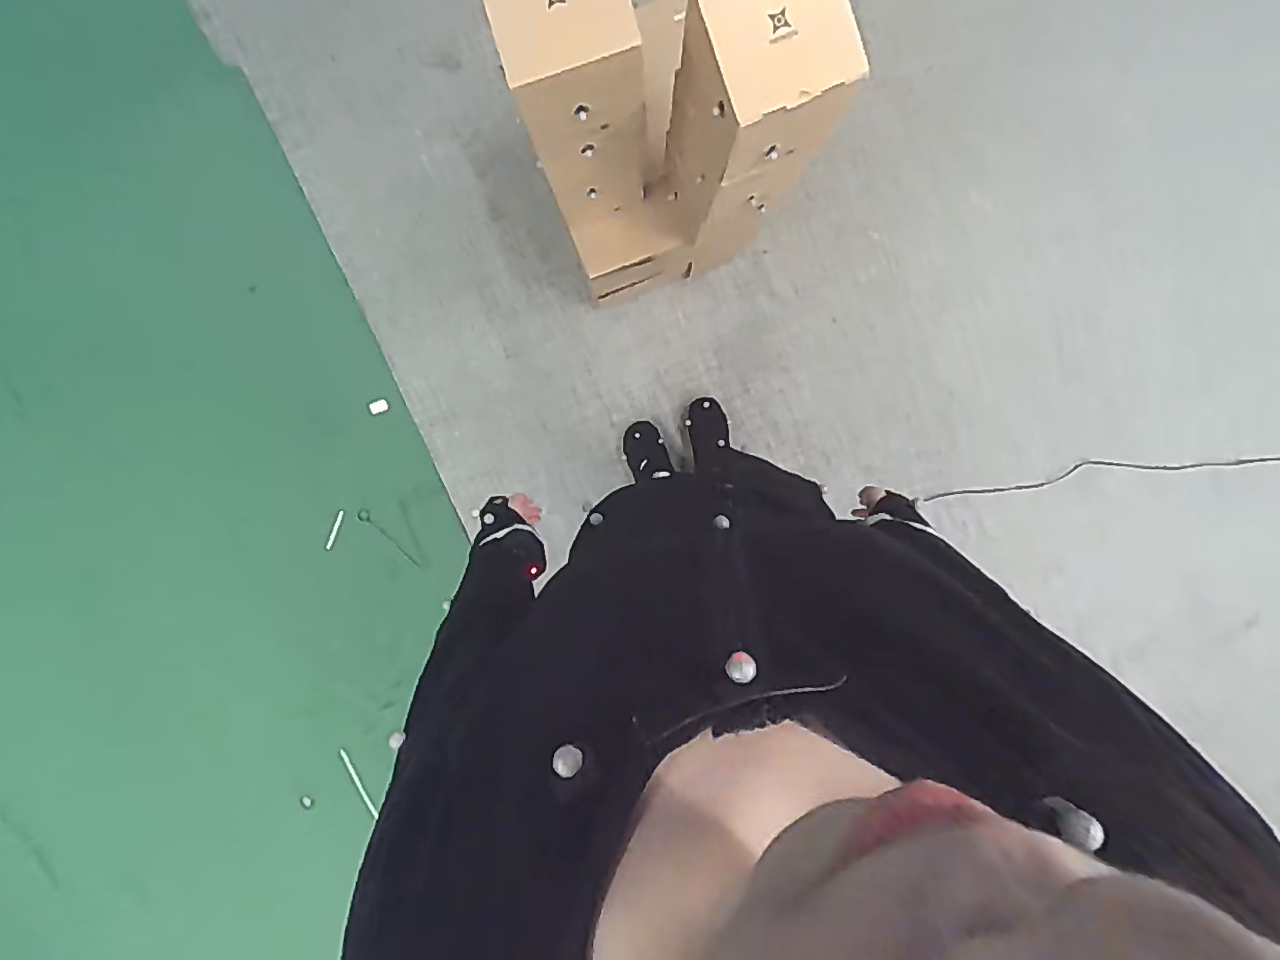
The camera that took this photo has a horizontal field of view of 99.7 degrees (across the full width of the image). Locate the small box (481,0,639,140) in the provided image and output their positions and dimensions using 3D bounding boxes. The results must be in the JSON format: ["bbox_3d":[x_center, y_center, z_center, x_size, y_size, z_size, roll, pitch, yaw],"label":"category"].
[{"bbox_3d":[-0.100,-0.574,0.697,0.168,0.176,0.179,-16,96,3],"label":"small box"}]

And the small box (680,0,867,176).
[{"bbox_3d":[0.158,-0.539,0.700,0.168,0.176,0.179,-21,97,3],"label":"small box"}]

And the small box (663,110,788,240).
[{"bbox_3d":[0.152,-0.587,1.024,0.179,0.176,0.168,-23,96,3],"label":"small box"}]

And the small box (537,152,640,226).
[{"bbox_3d":[-0.106,-0.620,1.024,0.168,0.176,0.179,-21,95,4],"label":"small box"}]

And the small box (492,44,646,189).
[{"bbox_3d":[-0.100,-0.600,0.857,0.179,0.176,0.168,-22,96,6],"label":"small box"}]
